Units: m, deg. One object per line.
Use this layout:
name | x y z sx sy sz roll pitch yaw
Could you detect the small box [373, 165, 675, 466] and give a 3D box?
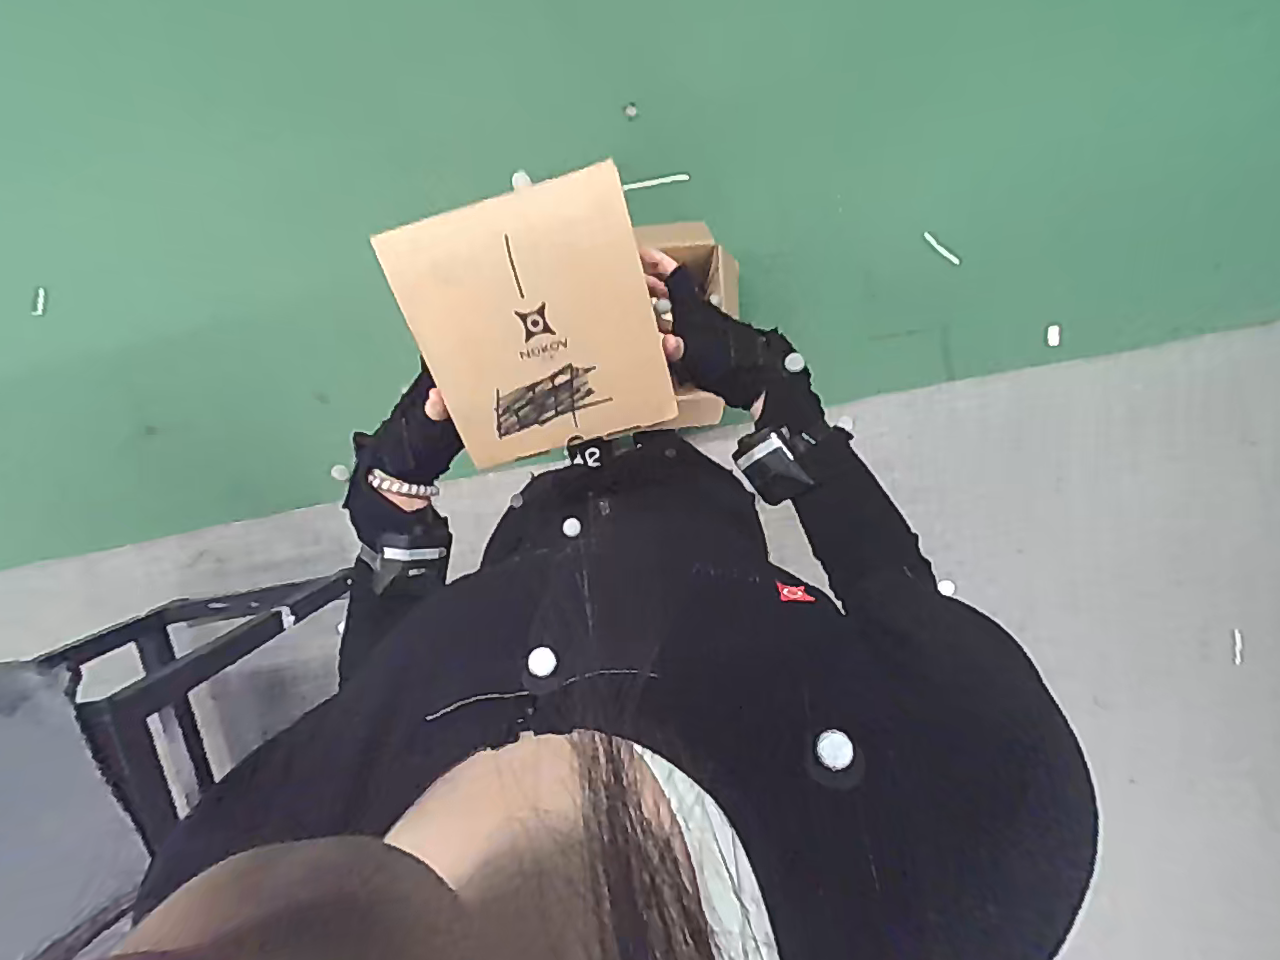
small box | -0.074 -0.140 0.446 0.168 0.176 0.179 -15 118 5
